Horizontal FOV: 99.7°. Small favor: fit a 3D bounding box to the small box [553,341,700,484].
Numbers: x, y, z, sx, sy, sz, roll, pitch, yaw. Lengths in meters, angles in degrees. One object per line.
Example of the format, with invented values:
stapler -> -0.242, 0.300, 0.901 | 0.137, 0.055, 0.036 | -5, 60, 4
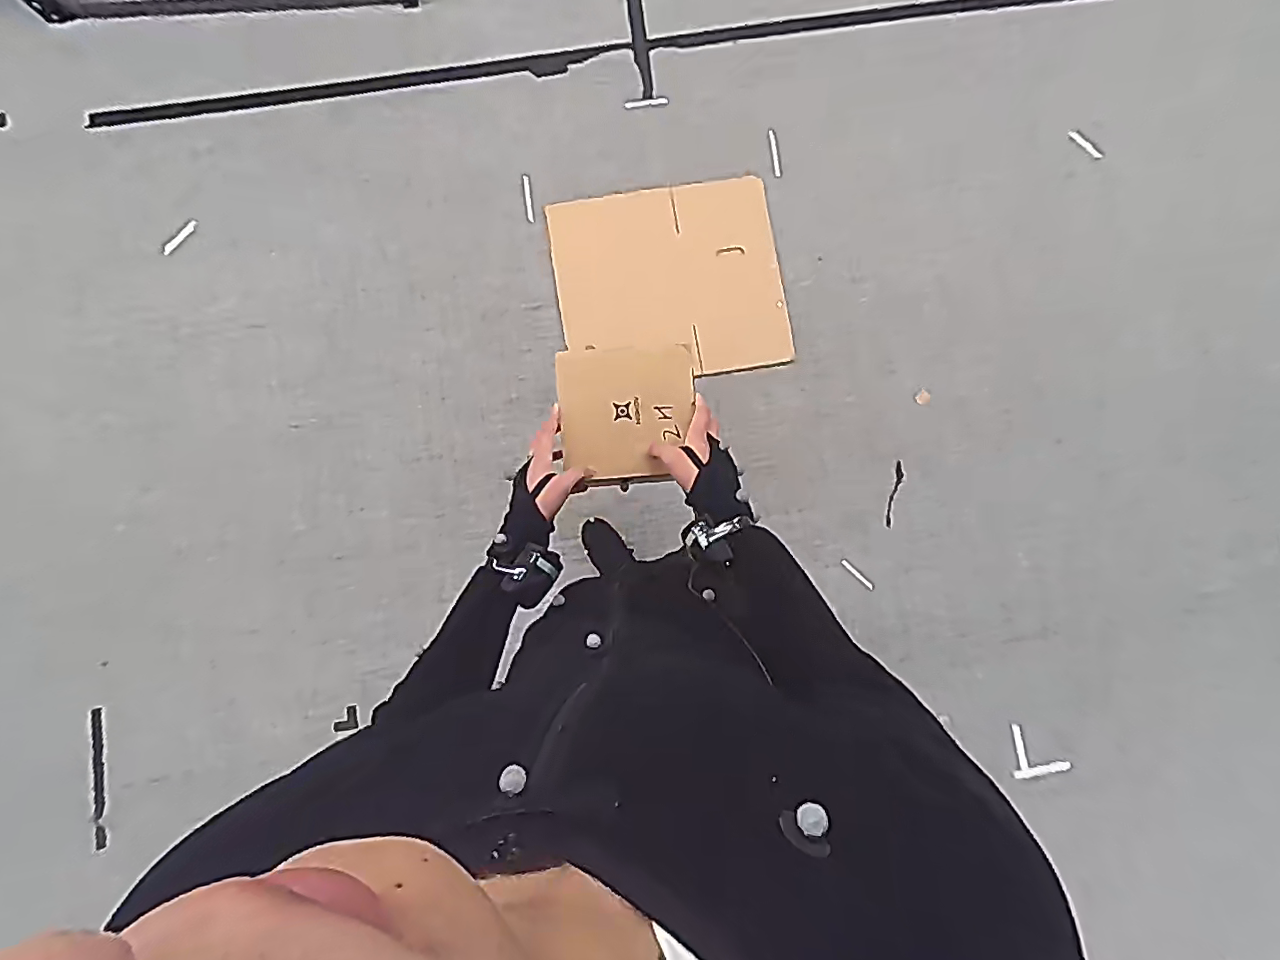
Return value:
small box -> -0.023, -0.085, 0.753 | 0.179, 0.176, 0.168 | -5, 87, -6
